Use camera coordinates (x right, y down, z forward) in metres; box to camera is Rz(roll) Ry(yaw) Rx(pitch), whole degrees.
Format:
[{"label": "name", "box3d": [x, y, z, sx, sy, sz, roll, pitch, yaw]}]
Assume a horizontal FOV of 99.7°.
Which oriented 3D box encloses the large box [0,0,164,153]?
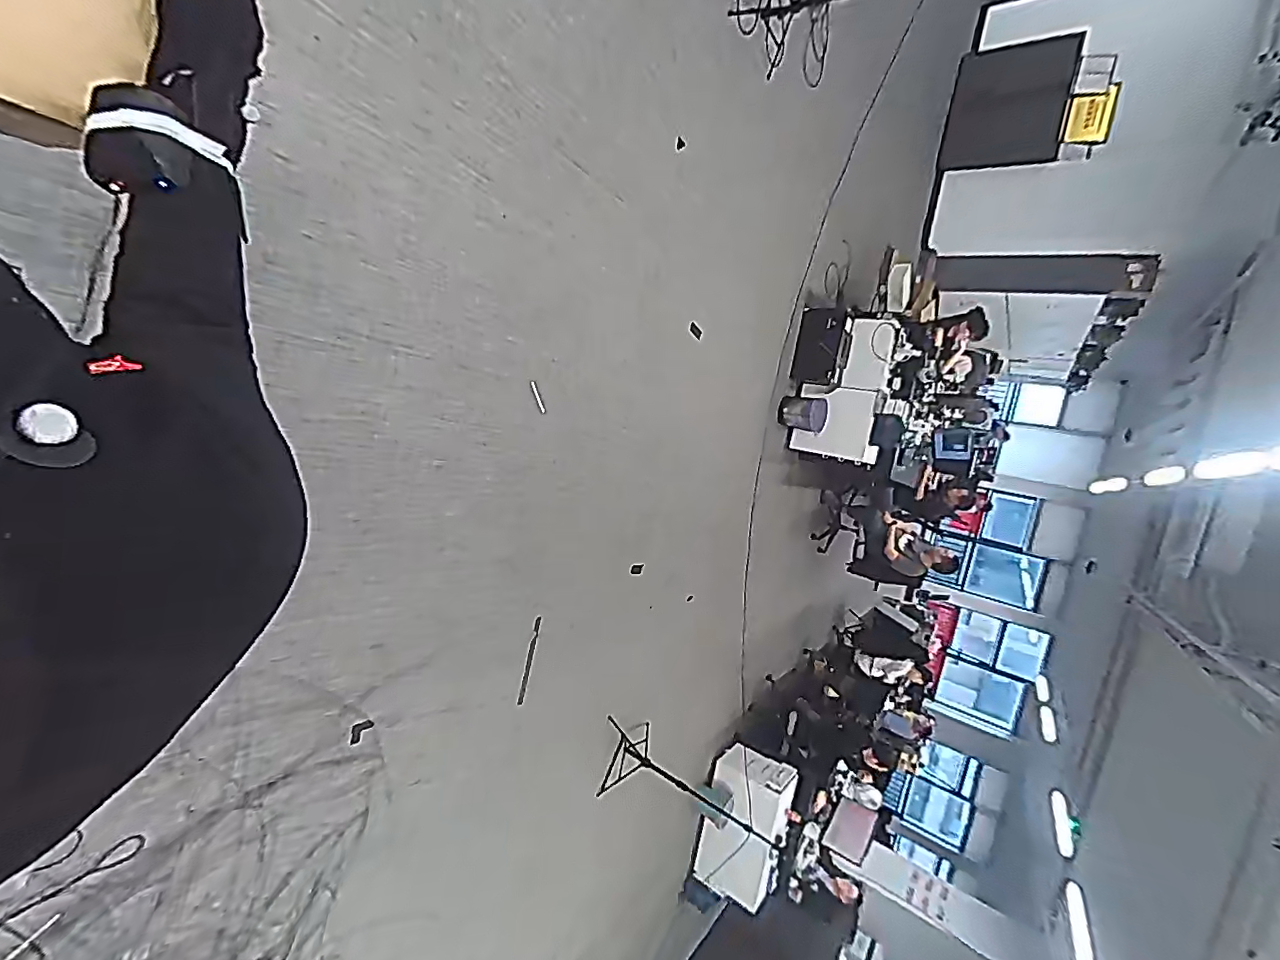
[{"label": "large box", "box3d": [-0.590, -0.457, 0.320, 0.408, 0.320, 0.320, -1, 111, -60]}]
